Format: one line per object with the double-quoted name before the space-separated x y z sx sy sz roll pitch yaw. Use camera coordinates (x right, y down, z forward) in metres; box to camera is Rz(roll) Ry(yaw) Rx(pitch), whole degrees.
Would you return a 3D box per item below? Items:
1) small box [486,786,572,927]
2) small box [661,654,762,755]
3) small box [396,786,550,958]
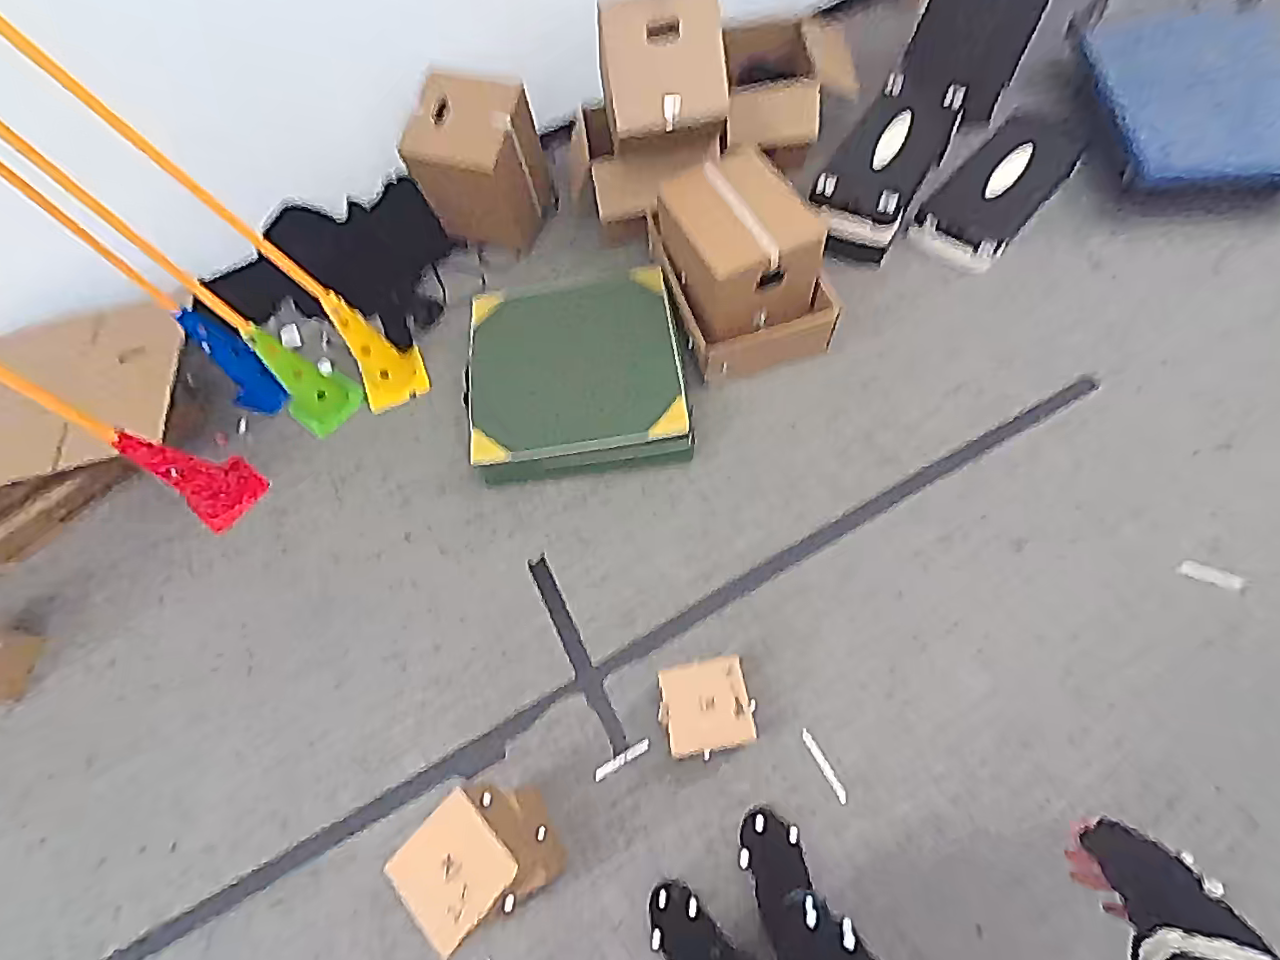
"small box" -0.259 0.757 1.109 0.168 0.176 0.179 -30 63 -7
"small box" 0.154 0.495 1.183 0.179 0.176 0.168 -13 63 -1
"small box" -0.289 0.678 0.966 0.168 0.176 0.179 -42 68 -11
